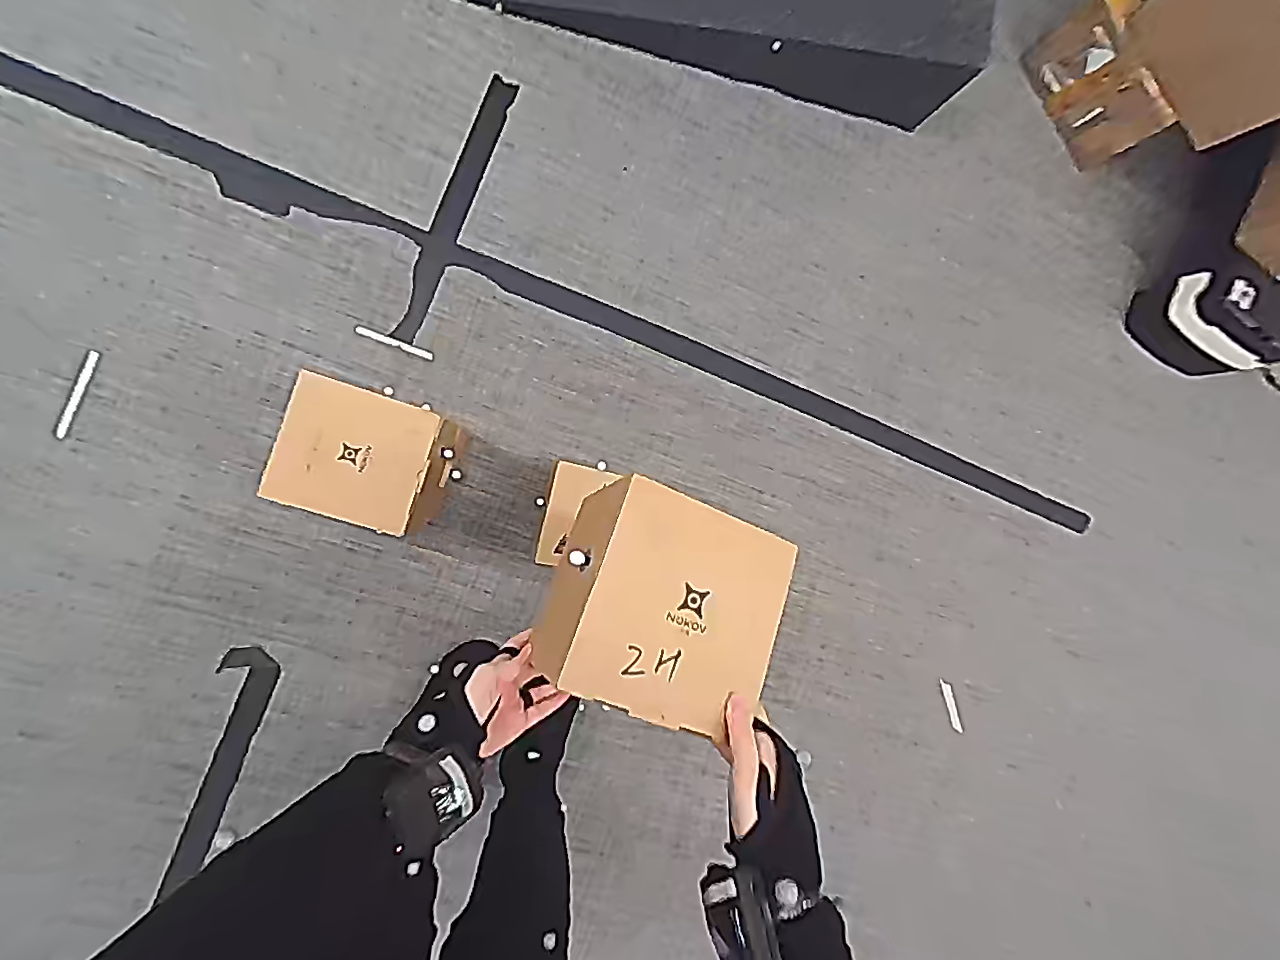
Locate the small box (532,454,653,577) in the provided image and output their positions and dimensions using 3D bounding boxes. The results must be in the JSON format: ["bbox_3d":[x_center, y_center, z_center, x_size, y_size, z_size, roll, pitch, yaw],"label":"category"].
[{"bbox_3d":[-0.092,0.057,0.967,0.168,0.176,0.179,14,89,-13],"label":"small box"}]

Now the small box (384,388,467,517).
[{"bbox_3d":[-0.400,-0.053,0.894,0.179,0.176,0.168,21,88,-13],"label":"small box"}]

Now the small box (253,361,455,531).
[{"bbox_3d":[-0.367,-0.044,0.733,0.179,0.176,0.168,19,88,-12],"label":"small box"}]
